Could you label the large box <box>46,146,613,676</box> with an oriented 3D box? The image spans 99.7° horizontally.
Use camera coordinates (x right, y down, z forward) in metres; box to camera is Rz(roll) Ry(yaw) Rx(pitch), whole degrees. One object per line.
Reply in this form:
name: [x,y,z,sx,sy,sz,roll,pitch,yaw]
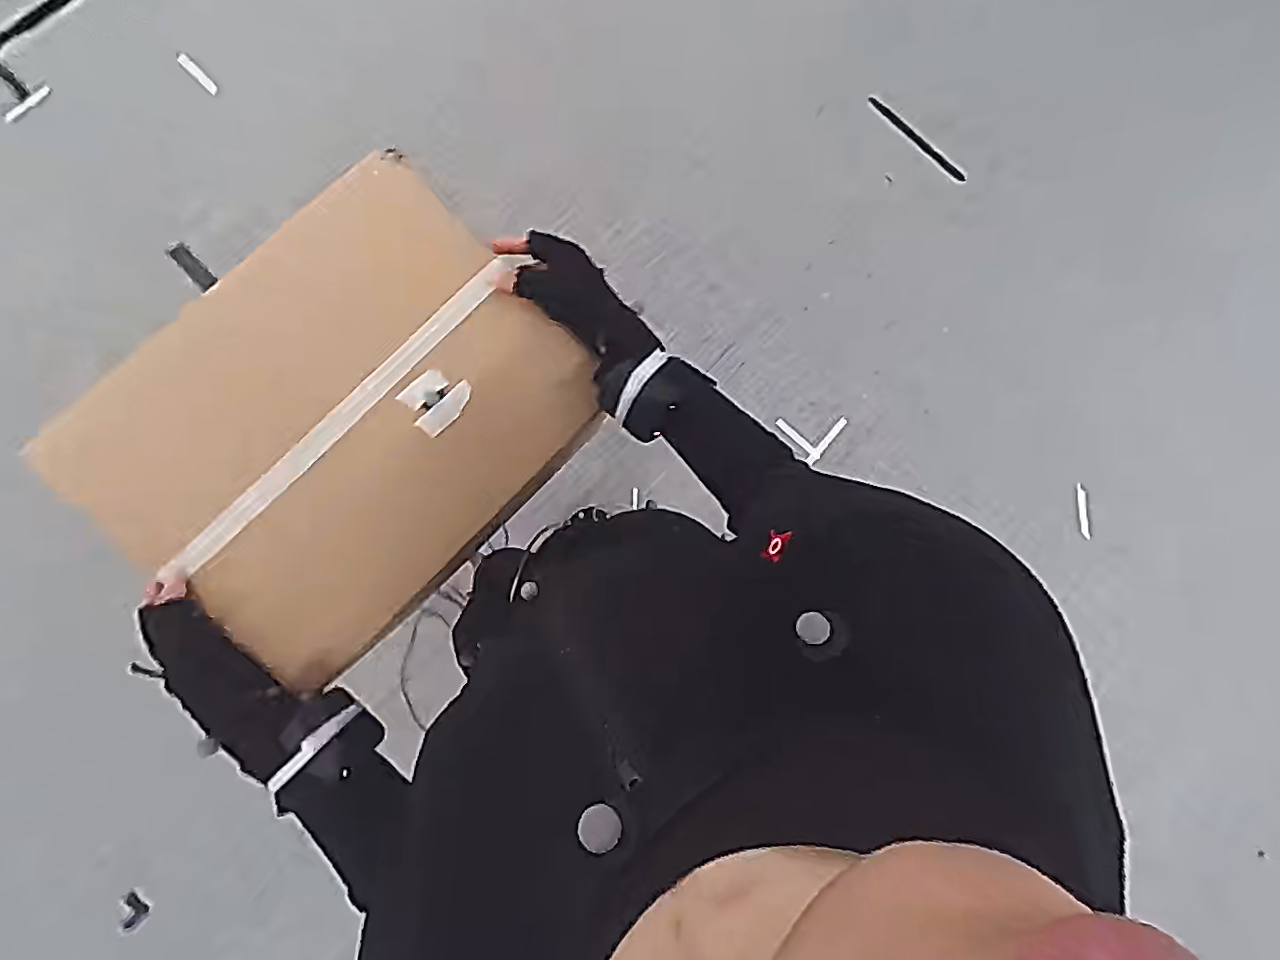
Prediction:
large box: [-0.289,-0.062,0.641,0.320,0.320,0.408,44,82,-6]
